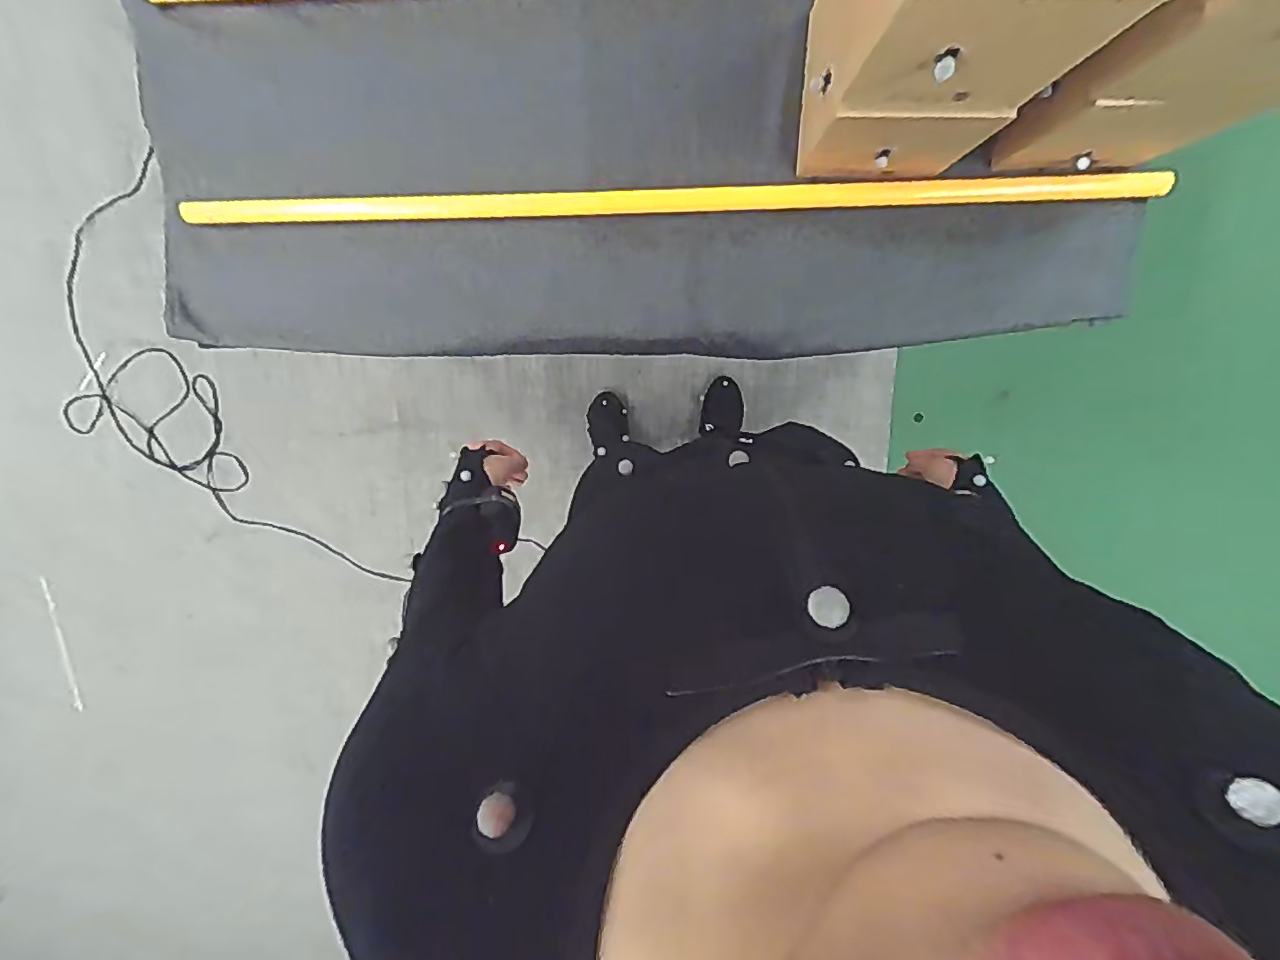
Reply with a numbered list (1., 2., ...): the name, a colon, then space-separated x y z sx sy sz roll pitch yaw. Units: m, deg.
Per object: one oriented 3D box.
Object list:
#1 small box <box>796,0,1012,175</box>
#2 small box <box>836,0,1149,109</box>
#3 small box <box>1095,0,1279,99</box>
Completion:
1. small box: 0.264 -0.433 0.557 0.168 0.176 0.179 2 102 2
2. small box: 0.253 -0.403 0.397 0.168 0.176 0.179 3 102 4
3. small box: 0.482 -0.400 0.381 0.179 0.176 0.168 4 103 2
